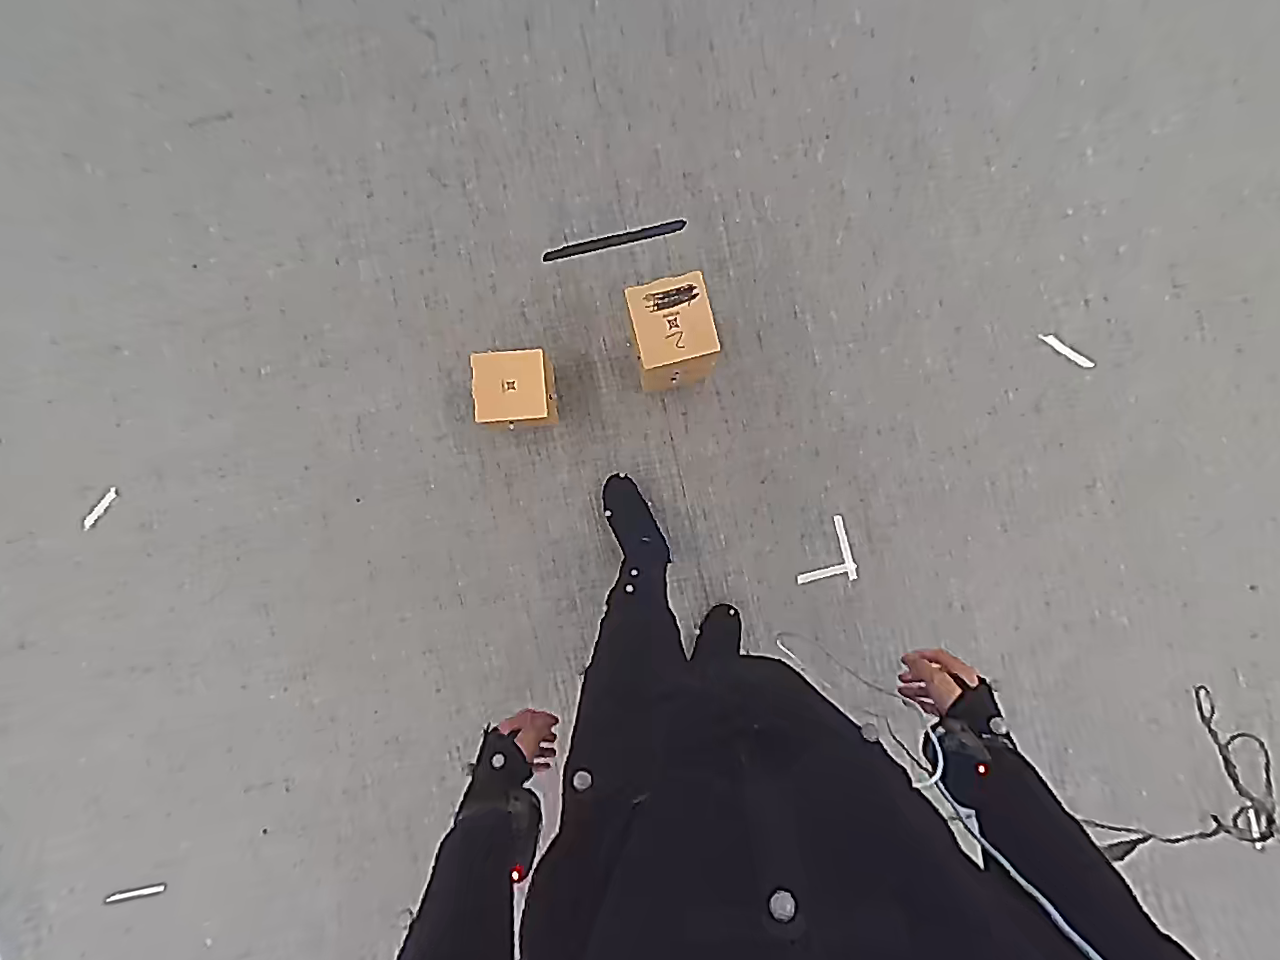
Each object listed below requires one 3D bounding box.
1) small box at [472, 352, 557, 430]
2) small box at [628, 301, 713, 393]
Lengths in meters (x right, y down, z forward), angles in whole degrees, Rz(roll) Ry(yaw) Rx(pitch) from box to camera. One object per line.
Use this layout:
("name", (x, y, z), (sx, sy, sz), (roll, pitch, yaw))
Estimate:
("small box", (-0.308, -0.220, 1.364), (0.179, 0.176, 0.168), (-4, 90, 1))
("small box", (0.073, -0.326, 1.362), (0.179, 0.176, 0.168), (-14, 90, -1))
